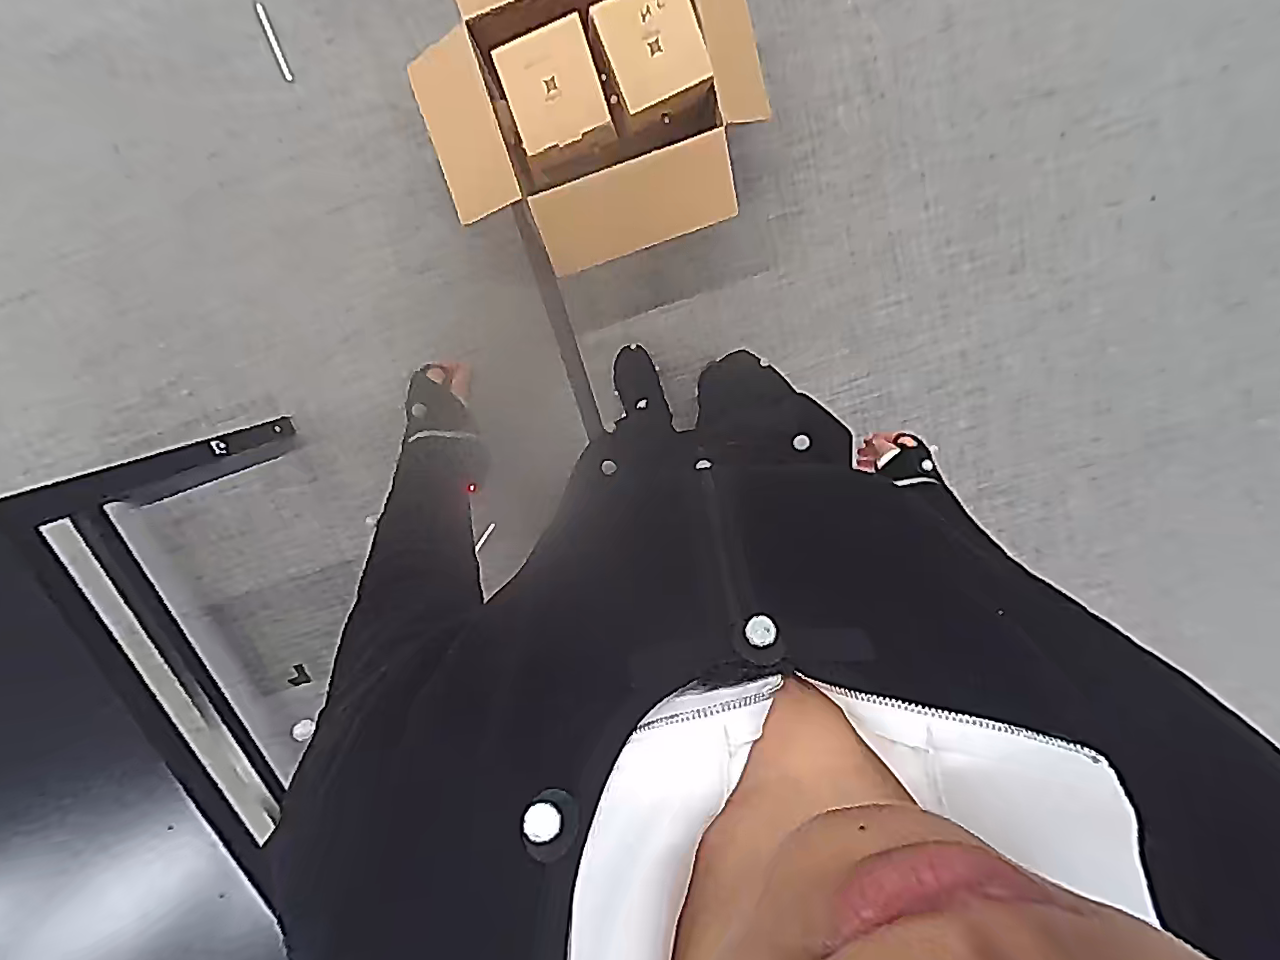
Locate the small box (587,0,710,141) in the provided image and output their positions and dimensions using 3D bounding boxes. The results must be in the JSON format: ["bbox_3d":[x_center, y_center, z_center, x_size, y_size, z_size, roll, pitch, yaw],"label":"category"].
[{"bbox_3d":[0.013,-0.768,1.010,0.168,0.176,0.179,-24,106,2],"label":"small box"}]
